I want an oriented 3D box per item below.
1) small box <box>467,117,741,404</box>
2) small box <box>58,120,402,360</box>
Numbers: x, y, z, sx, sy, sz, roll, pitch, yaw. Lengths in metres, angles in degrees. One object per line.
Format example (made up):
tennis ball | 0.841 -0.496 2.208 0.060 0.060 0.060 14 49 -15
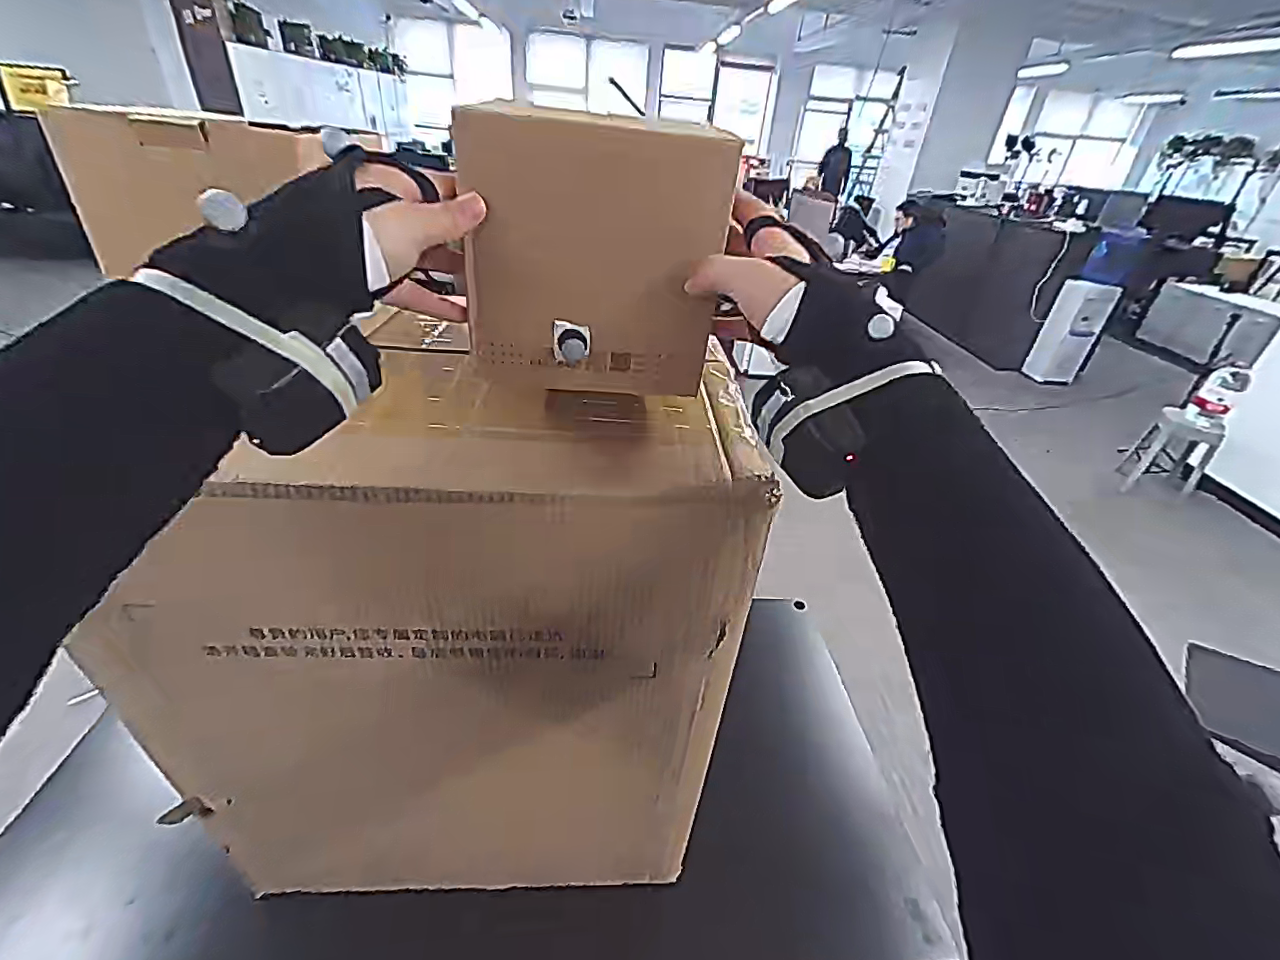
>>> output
small box | -0.034 -0.177 0.430 0.168 0.176 0.179 1 35 -7
small box | -0.331 -0.217 0.490 0.168 0.176 0.179 3 32 -6
